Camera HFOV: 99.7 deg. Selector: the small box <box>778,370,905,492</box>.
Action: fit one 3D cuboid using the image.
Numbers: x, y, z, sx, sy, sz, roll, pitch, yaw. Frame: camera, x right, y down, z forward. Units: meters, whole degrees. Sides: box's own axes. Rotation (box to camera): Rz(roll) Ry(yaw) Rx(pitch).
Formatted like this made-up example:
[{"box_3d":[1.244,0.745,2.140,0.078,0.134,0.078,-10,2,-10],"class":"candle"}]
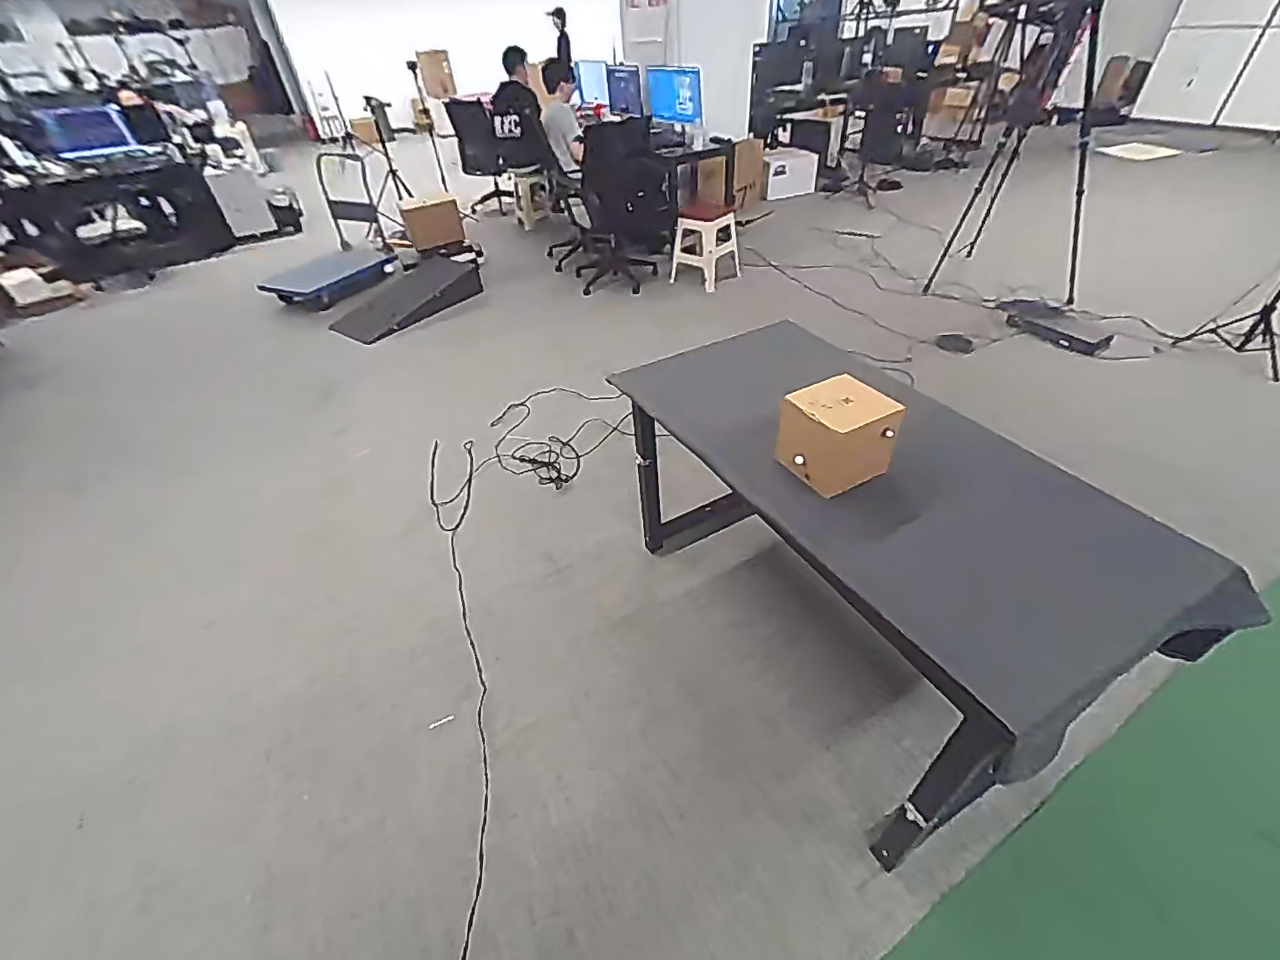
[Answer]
[{"box_3d":[0.416,-0.104,1.147,0.179,0.176,0.168,-21,44,-20],"class":"small box"}]
